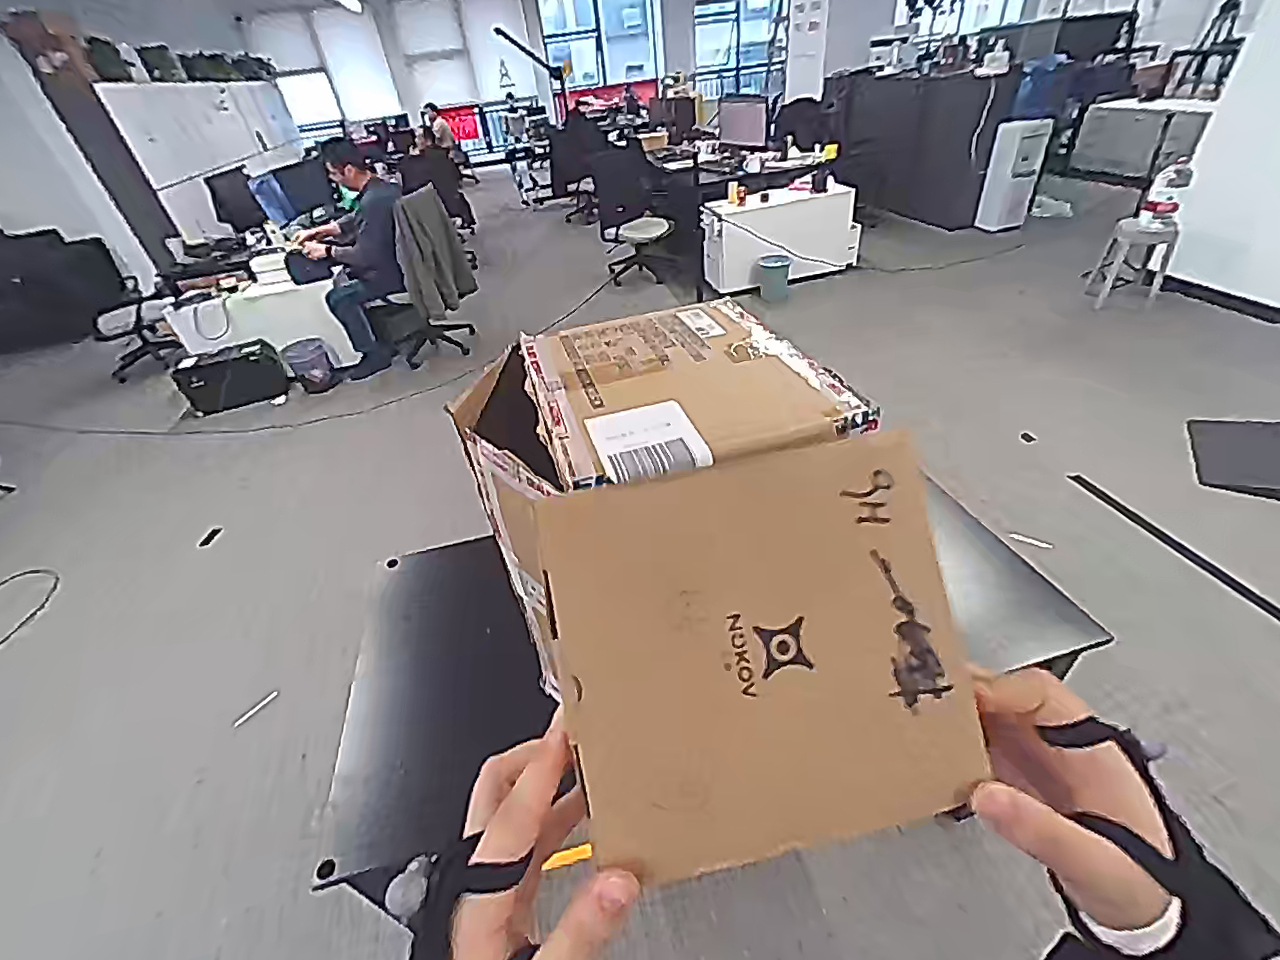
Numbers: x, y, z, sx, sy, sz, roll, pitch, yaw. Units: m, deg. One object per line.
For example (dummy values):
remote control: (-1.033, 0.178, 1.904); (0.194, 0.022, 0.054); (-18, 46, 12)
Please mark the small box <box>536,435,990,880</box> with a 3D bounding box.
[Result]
small box: (0.050, 0.084, 0.318); (0.179, 0.176, 0.168); (-11, 83, -3)
